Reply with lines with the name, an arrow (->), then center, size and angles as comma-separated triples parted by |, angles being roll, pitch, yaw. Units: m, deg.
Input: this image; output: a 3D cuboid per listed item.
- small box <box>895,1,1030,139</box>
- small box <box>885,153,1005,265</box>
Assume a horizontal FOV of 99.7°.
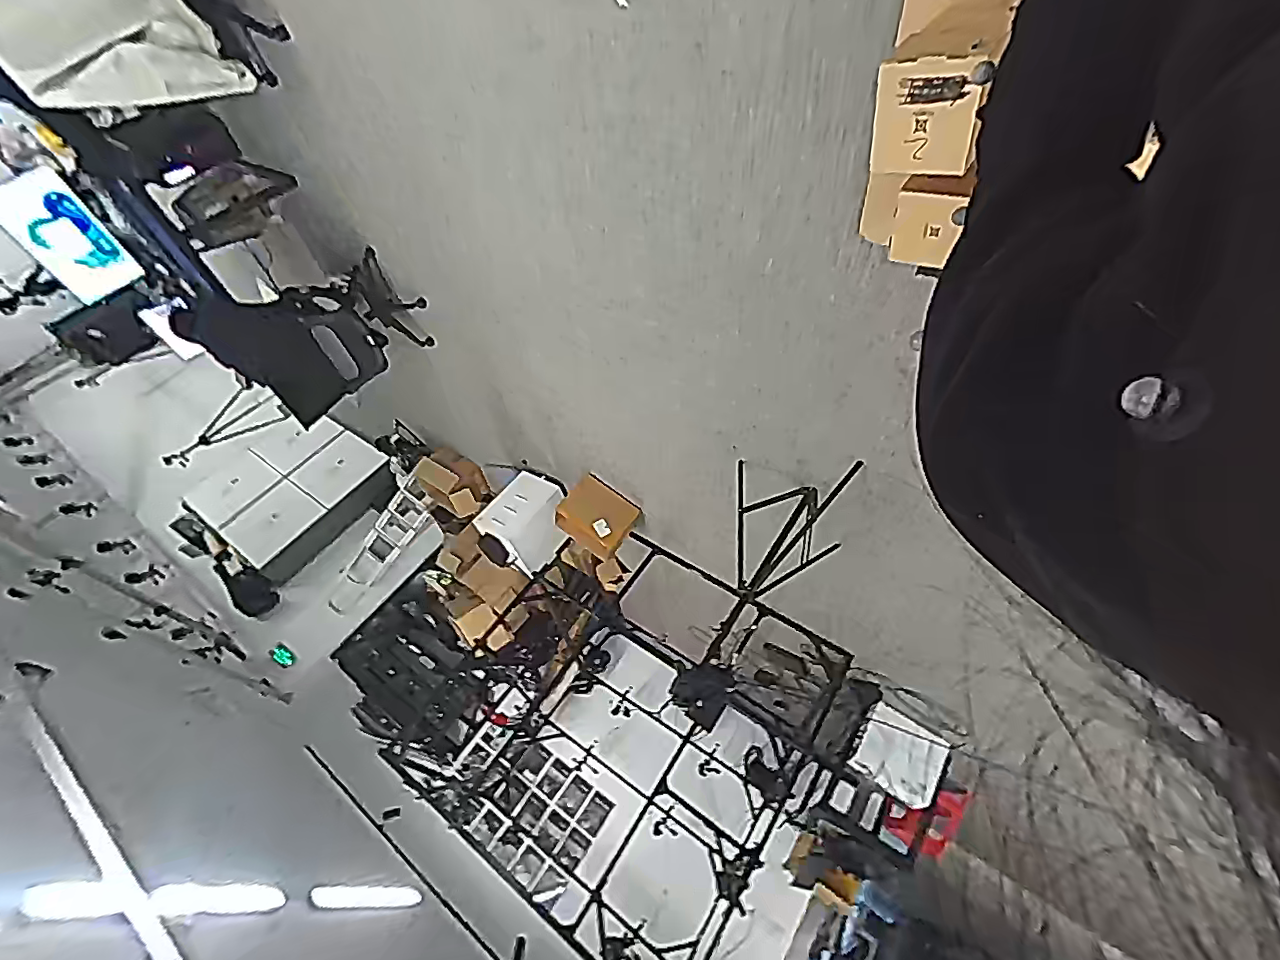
small box -> 0.615, -0.785, 1.034 | 0.168, 0.176, 0.179 | 23, 149, 29
small box -> 0.683, -0.613, 1.218 | 0.179, 0.176, 0.168 | 22, 150, 29
